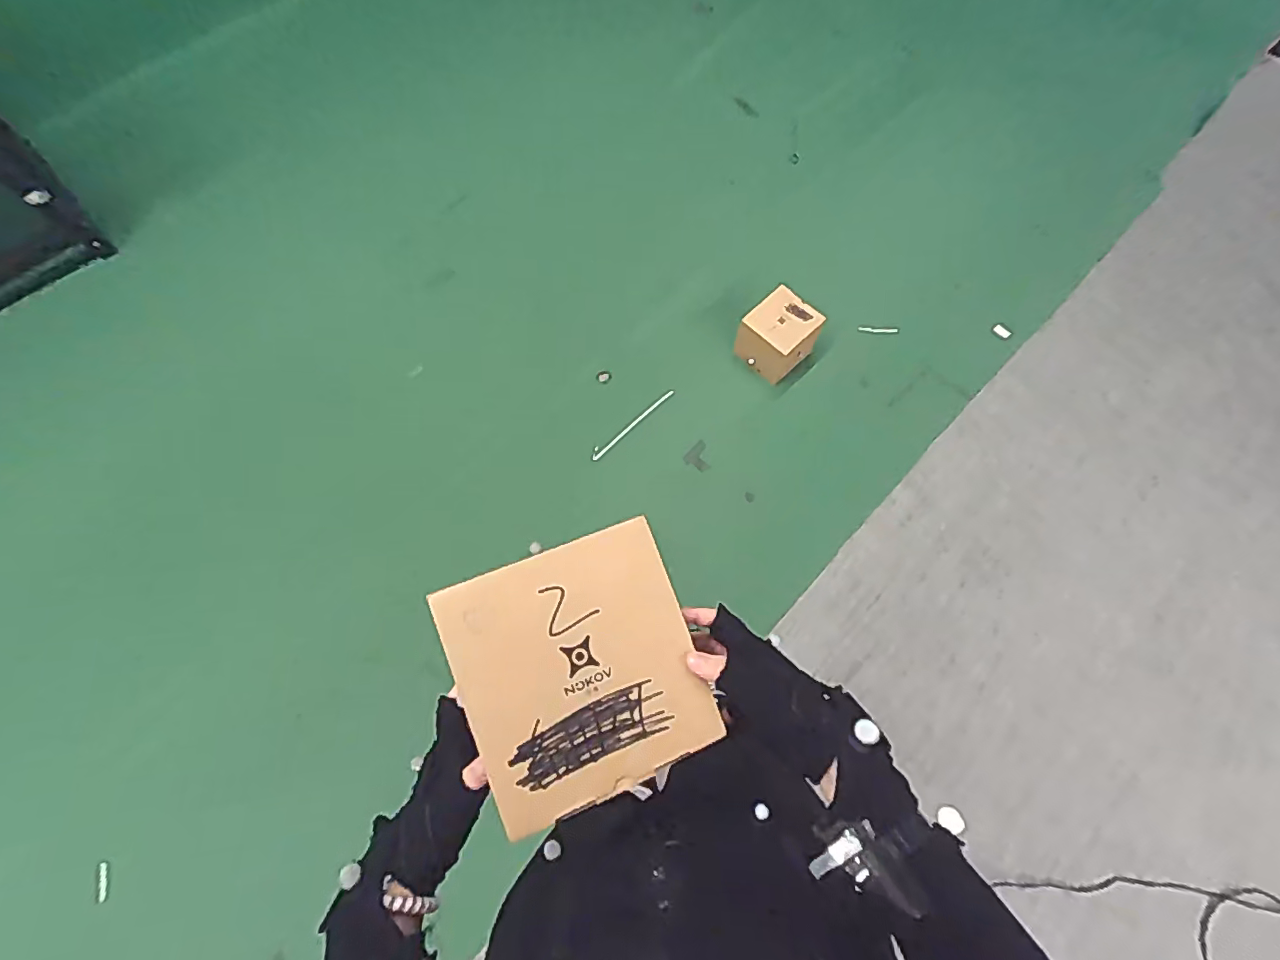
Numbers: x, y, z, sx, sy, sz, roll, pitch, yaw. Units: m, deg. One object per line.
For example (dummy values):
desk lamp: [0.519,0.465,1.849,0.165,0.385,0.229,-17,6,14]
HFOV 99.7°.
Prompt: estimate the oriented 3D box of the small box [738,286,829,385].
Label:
small box: [0.401,-0.410,1.553,0.179,0.176,0.168,-42,74,-13]
